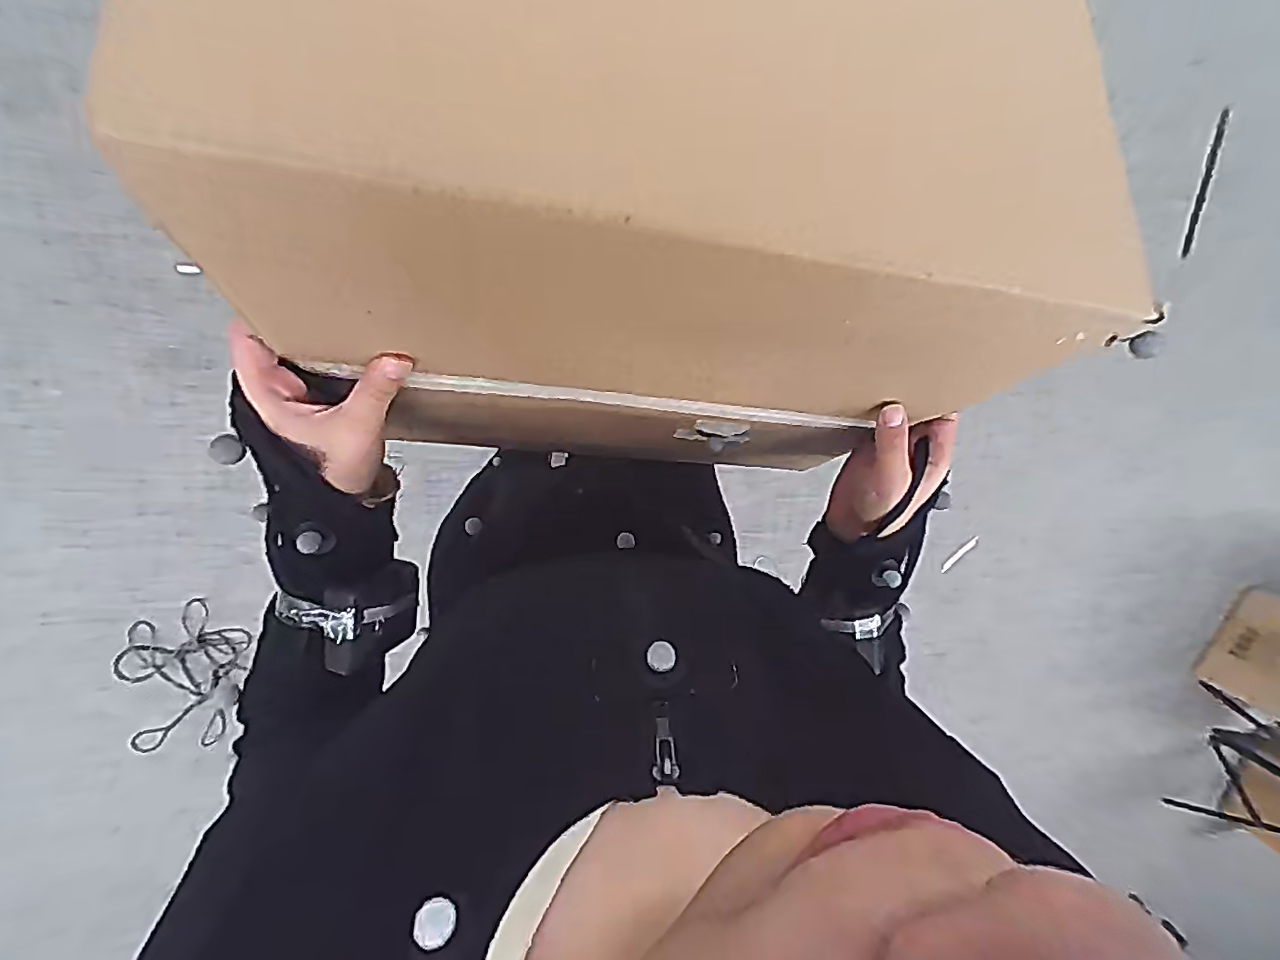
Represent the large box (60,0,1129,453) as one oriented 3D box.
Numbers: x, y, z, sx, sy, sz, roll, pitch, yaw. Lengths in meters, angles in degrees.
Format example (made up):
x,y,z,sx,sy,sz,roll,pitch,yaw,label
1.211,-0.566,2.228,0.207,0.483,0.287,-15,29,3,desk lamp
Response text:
x,y,z,sx,sy,sz,roll,pitch,yaw,label
-0.013,-0.209,0.367,0.408,0.320,0.320,2,80,-13,large box
